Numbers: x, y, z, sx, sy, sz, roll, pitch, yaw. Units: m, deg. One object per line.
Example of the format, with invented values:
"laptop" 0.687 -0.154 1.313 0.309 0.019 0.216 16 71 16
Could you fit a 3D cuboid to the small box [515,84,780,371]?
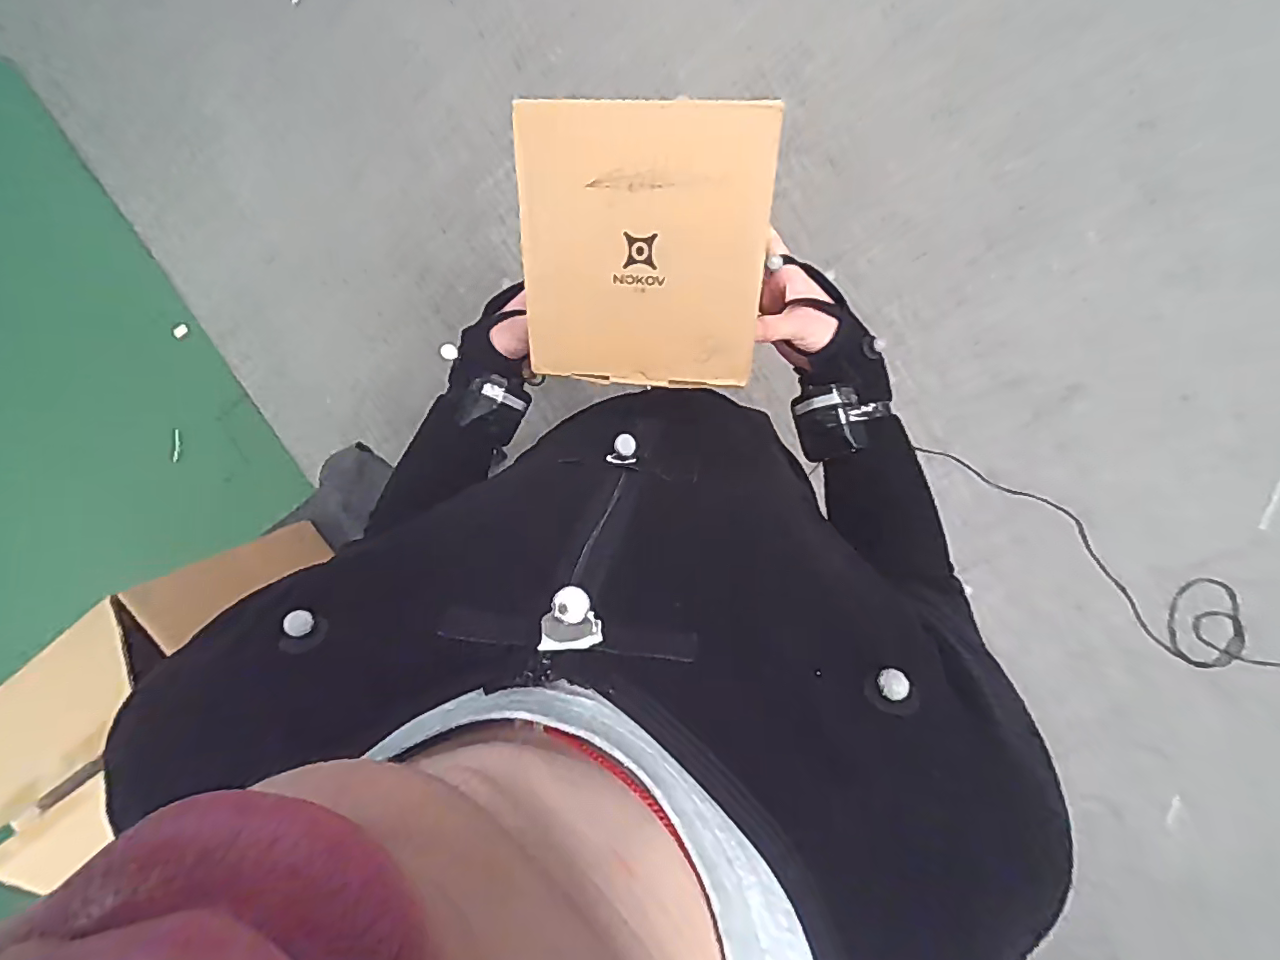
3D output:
"small box" 0.013 -0.201 0.434 0.168 0.176 0.179 4 119 7
